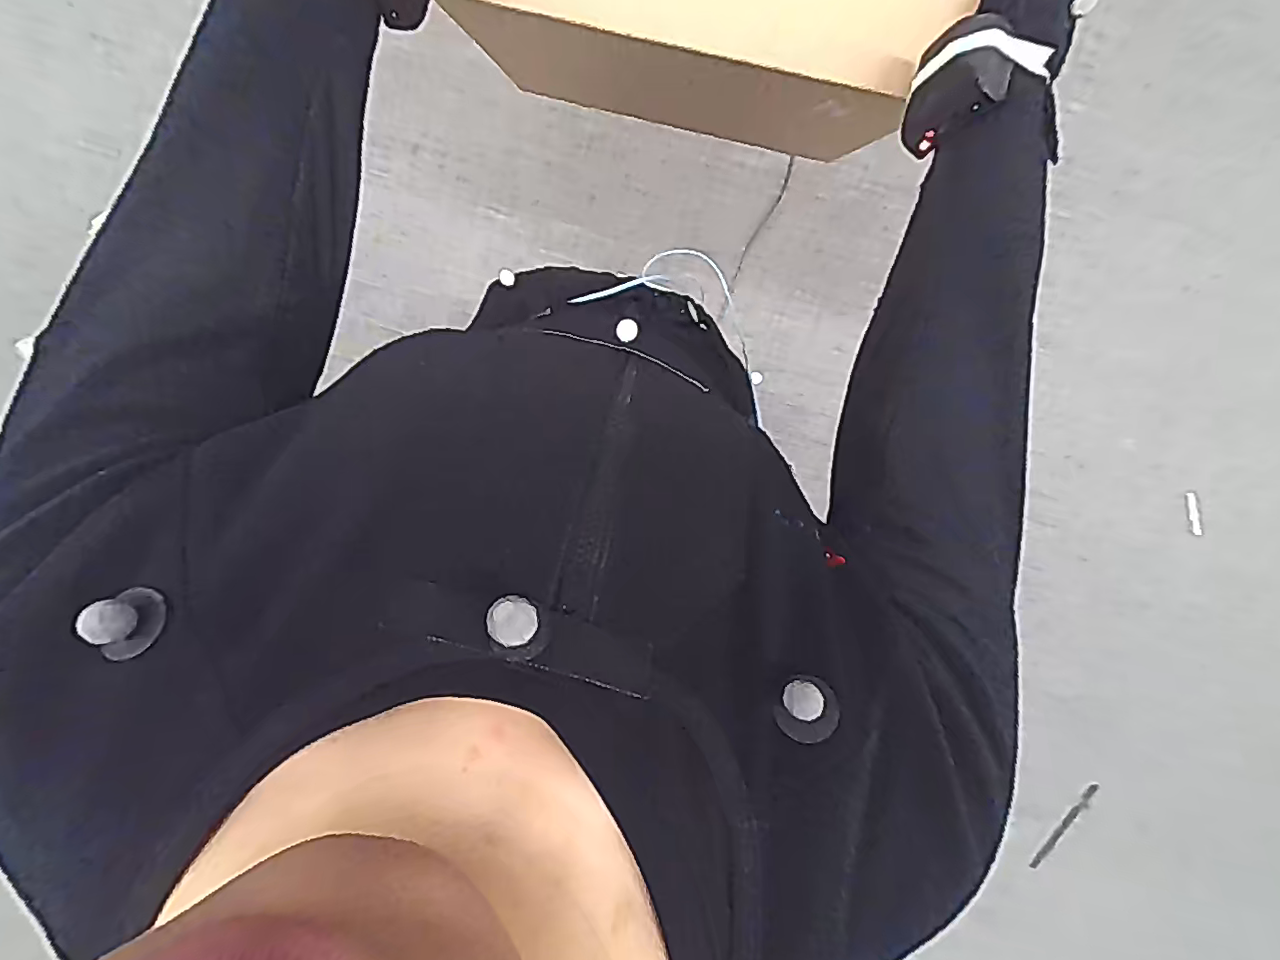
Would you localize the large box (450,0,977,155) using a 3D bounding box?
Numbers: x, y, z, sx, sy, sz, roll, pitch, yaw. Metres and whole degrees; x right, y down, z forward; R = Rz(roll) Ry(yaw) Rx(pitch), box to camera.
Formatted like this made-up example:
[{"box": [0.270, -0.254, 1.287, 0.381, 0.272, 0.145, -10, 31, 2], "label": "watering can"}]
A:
[{"box": [0.072, -0.523, 0.482, 0.408, 0.320, 0.320, 12, 115, -3], "label": "large box"}]
